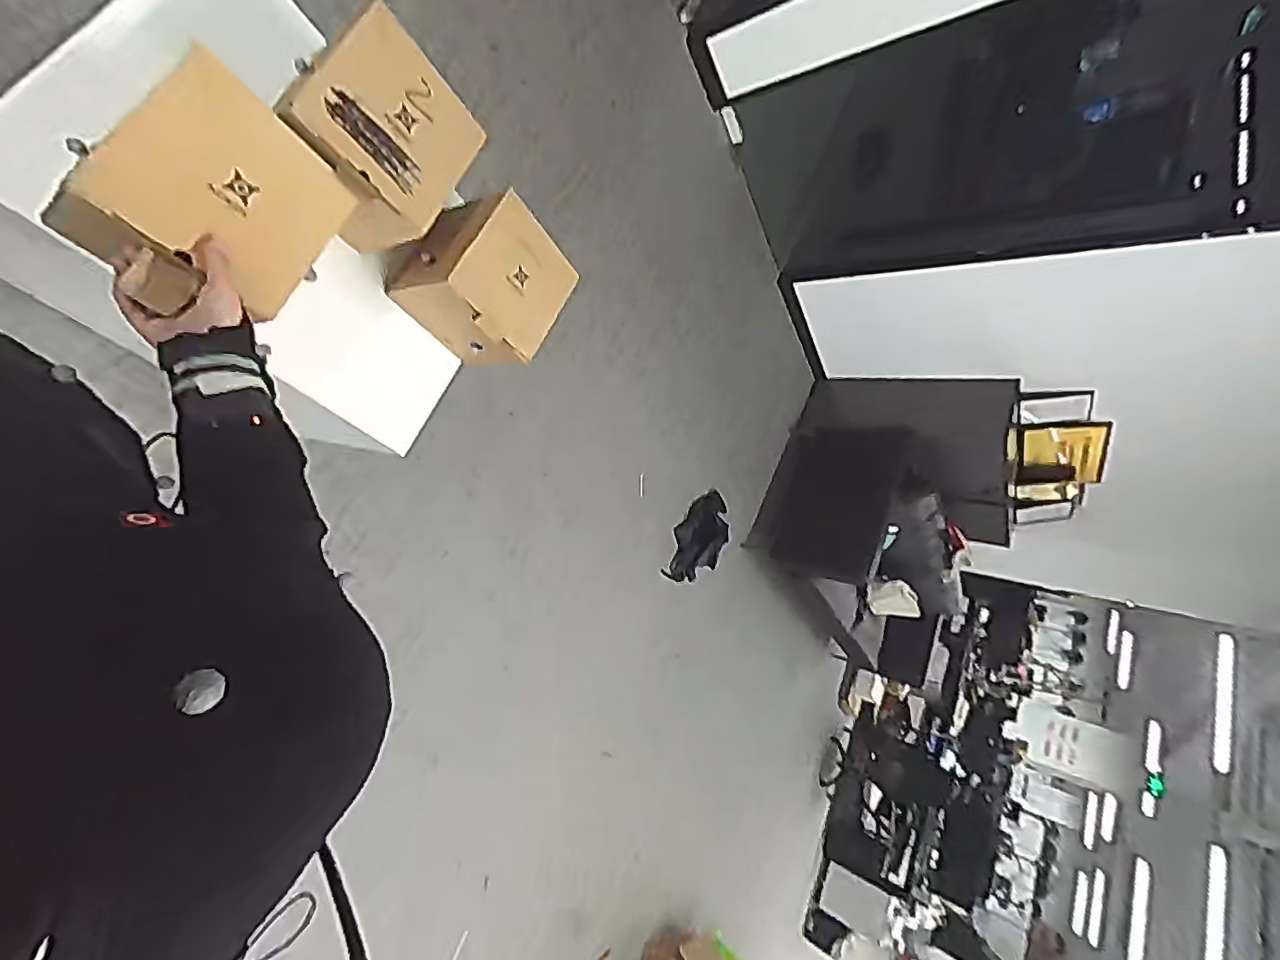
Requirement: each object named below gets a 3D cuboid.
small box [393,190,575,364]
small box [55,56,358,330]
[{"bbox_3d":[-0.237,-0.292,0.813,0.168,0.176,0.179,44,63,-47],"label":"small box"},{"bbox_3d":[-0.442,-0.275,0.557,0.168,0.176,0.179,42,64,-48],"label":"small box"}]
